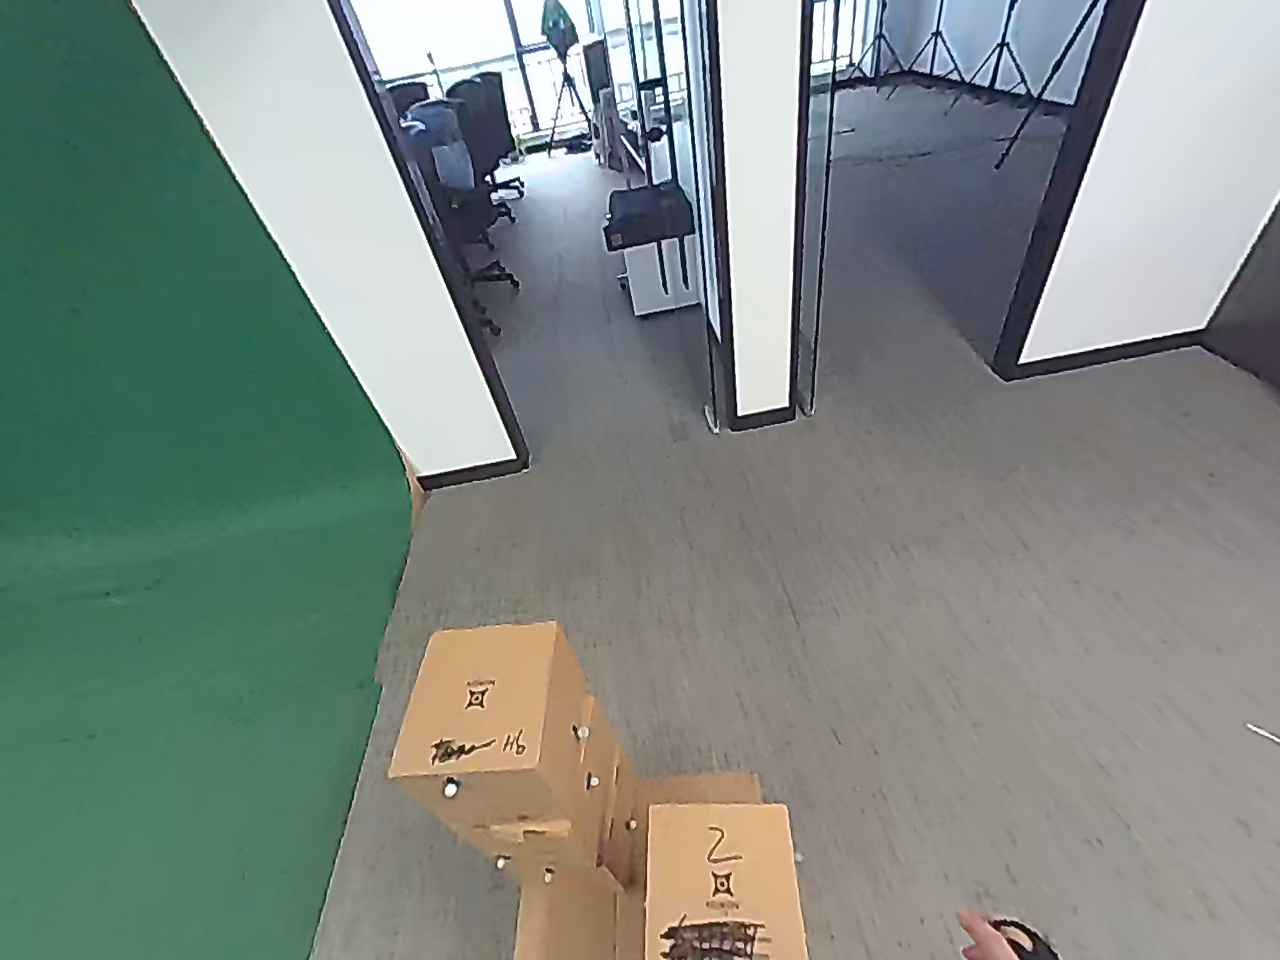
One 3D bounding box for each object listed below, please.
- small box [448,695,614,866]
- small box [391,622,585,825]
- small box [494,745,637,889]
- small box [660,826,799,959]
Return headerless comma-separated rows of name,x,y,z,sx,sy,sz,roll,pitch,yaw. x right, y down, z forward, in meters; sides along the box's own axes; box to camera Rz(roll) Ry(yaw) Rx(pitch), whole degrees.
small box,-0.140,0.428,0.778,0.168,0.176,0.179,-2,41,11
small box,-0.170,0.303,0.674,0.168,0.176,0.179,-7,41,7
small box,-0.110,0.549,0.885,0.179,0.176,0.168,-2,43,9
small box,0.125,0.614,0.758,0.168,0.176,0.179,-8,42,4
